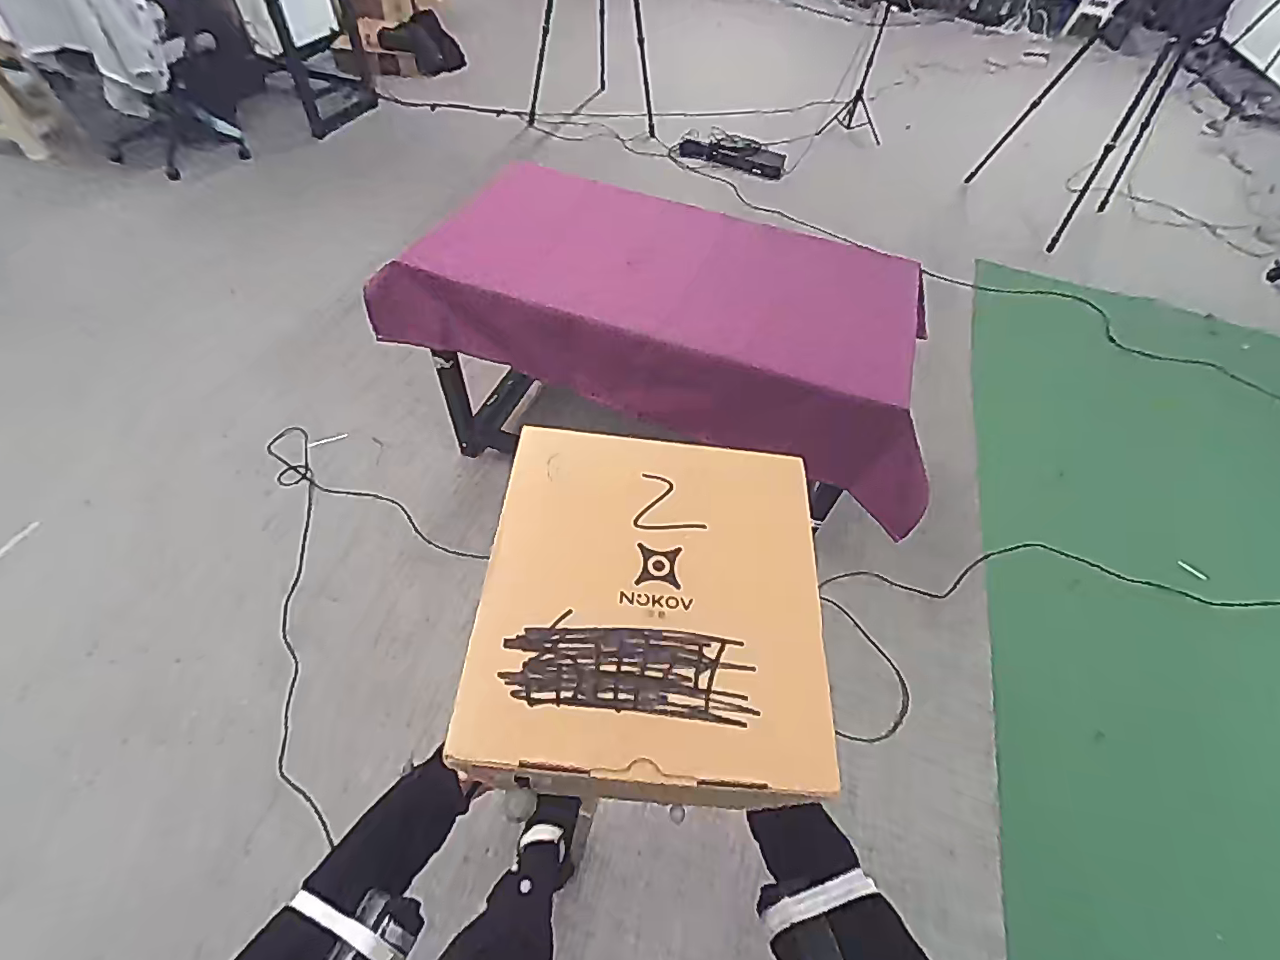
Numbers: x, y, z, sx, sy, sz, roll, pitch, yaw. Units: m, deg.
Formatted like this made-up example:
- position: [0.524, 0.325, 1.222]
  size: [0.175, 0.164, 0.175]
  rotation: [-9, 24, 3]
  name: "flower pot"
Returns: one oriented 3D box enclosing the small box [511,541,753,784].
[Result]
- position: [-0.007, 0.173, 0.491]
  size: [0.179, 0.176, 0.168]
  rotation: [5, 56, -2]
  name: "small box"
